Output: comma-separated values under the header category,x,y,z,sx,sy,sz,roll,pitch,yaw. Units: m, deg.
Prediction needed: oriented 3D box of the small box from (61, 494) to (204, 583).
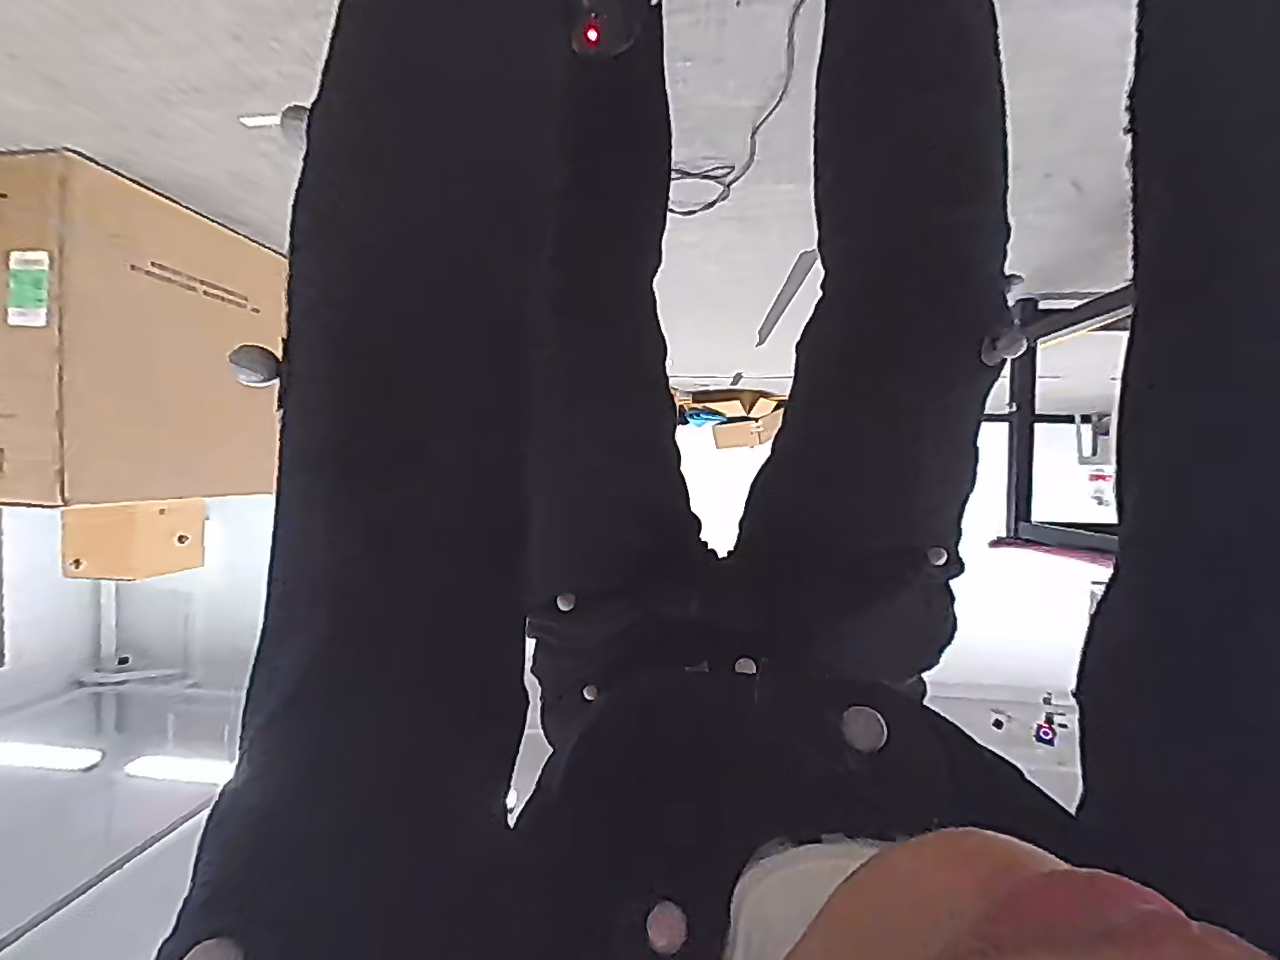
category,x,y,z,sx,sy,sz,roll,pitch,yaw
small box,-1.117,0.123,1.194,0.179,0.176,0.168,2,-178,5
